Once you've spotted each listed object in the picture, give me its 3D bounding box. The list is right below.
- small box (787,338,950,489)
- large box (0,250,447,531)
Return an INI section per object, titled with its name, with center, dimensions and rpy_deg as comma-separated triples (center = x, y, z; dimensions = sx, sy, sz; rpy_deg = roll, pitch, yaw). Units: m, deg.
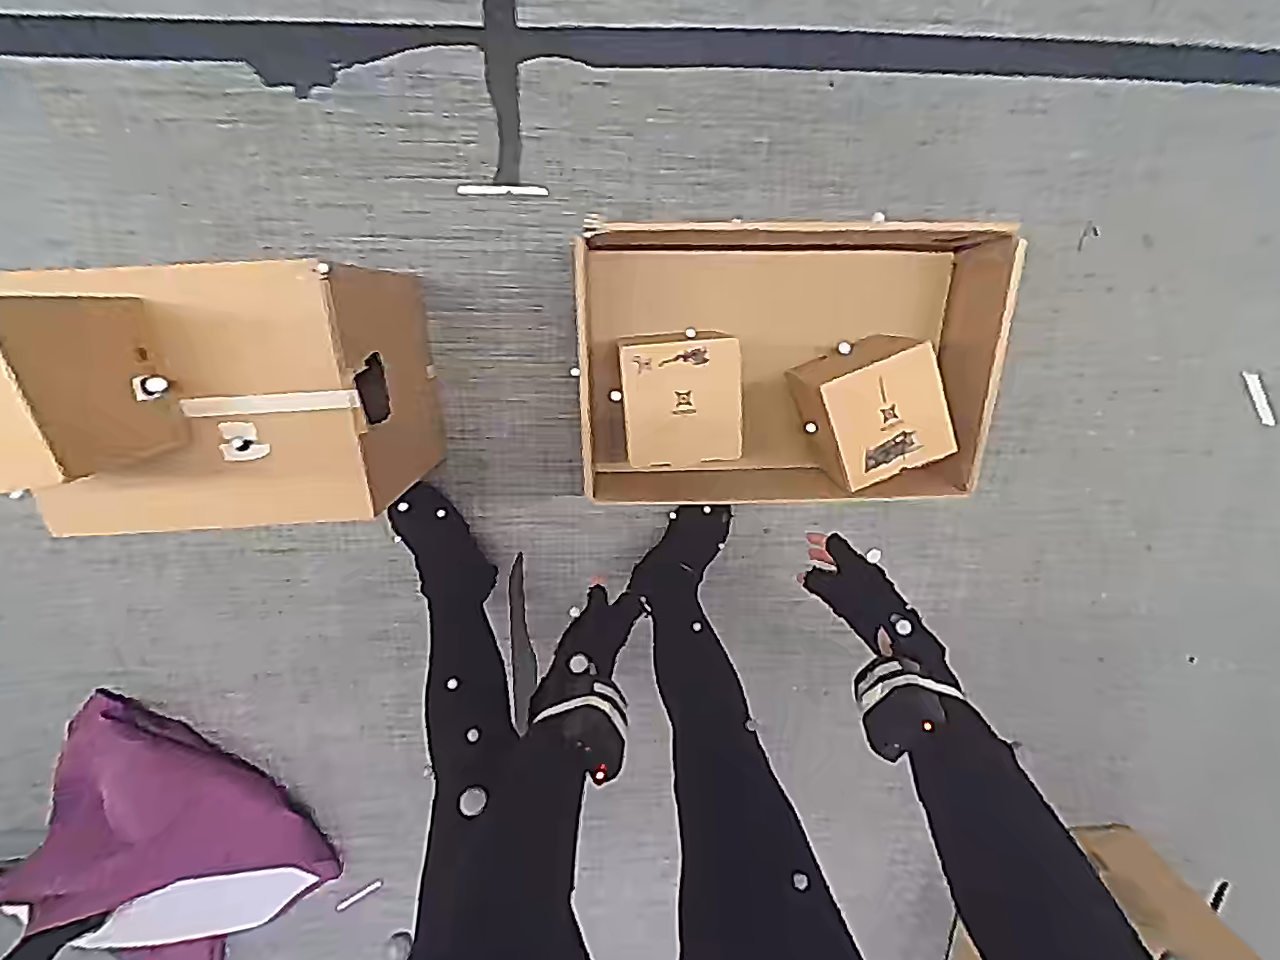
[small box]
center = 0.354, -0.114, 0.862
dimensions = 0.168, 0.176, 0.179
rpy_deg = -21, 107, 4
[large box]
center = -0.543, -0.141, 0.784
dimensions = 0.408, 0.320, 0.320
rpy_deg = -4, 109, -2
